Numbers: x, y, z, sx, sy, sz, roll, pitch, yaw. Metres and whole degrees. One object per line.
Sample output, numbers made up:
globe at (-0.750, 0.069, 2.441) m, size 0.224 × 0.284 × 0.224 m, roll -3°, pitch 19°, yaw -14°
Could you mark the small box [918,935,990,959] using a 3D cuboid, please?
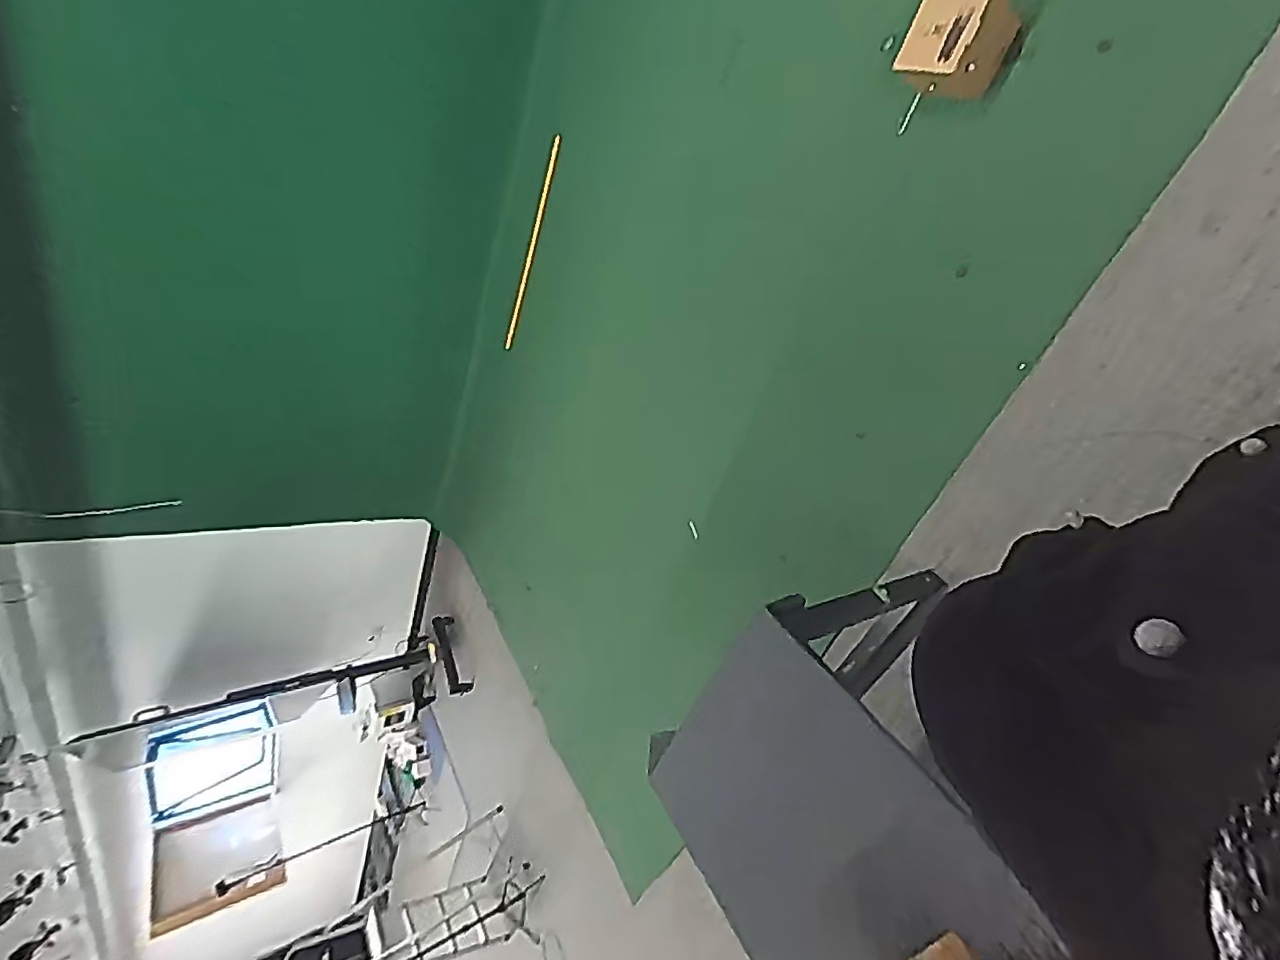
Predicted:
small box at (0.416, 0.765, 0.715) m, size 0.168 × 0.176 × 0.179 m, roll 47°, pitch 127°, yaw 39°
